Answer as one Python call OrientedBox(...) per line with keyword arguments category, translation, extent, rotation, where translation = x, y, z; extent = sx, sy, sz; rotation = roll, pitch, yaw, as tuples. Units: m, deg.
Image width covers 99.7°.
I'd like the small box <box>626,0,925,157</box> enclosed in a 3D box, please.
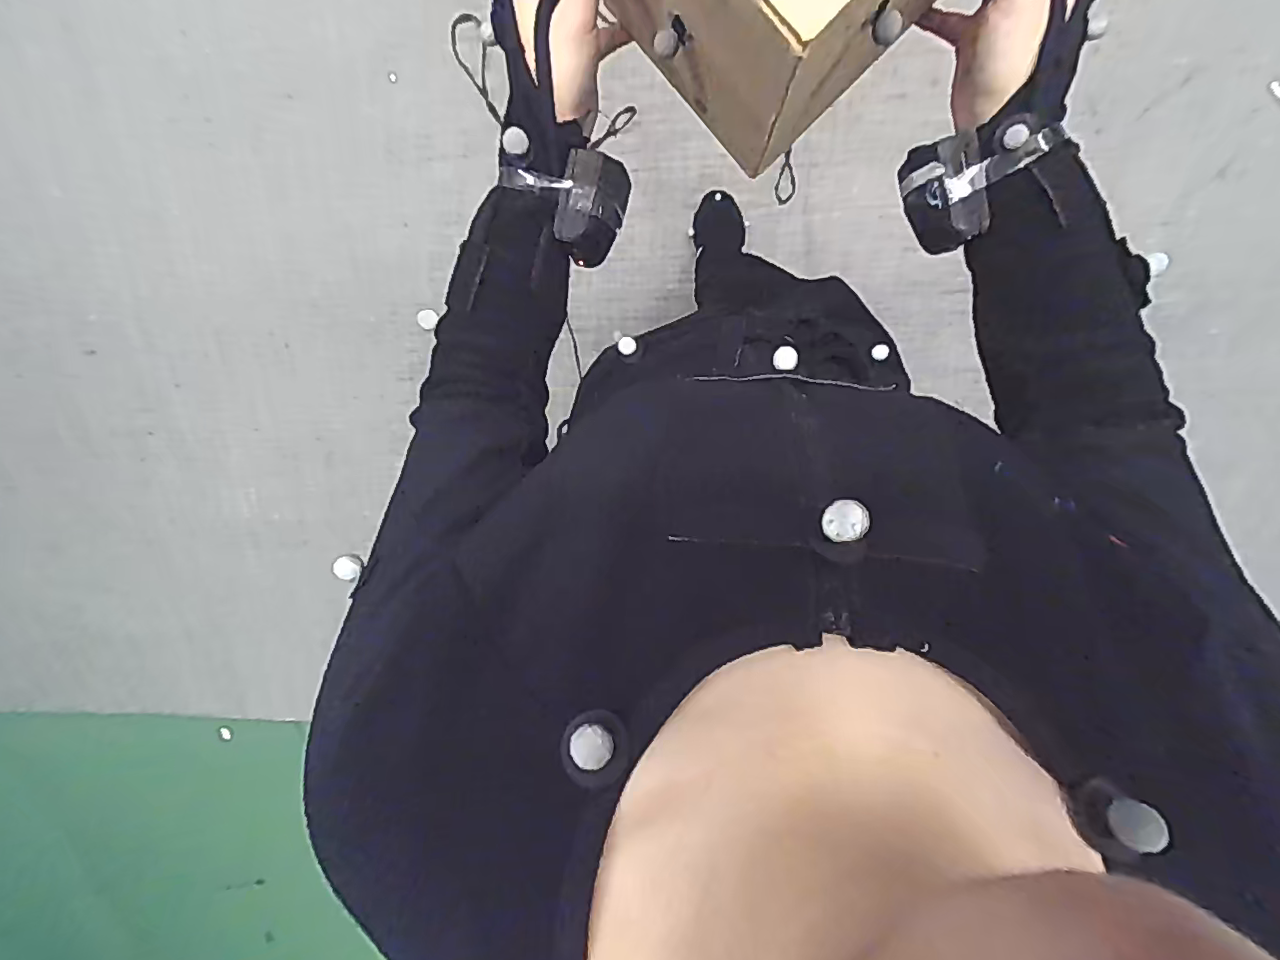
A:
OrientedBox(category="small box", translation=(0.086, -0.329, 0.302), extent=(0.179, 0.176, 0.168), rotation=(-42, 95, 12))
